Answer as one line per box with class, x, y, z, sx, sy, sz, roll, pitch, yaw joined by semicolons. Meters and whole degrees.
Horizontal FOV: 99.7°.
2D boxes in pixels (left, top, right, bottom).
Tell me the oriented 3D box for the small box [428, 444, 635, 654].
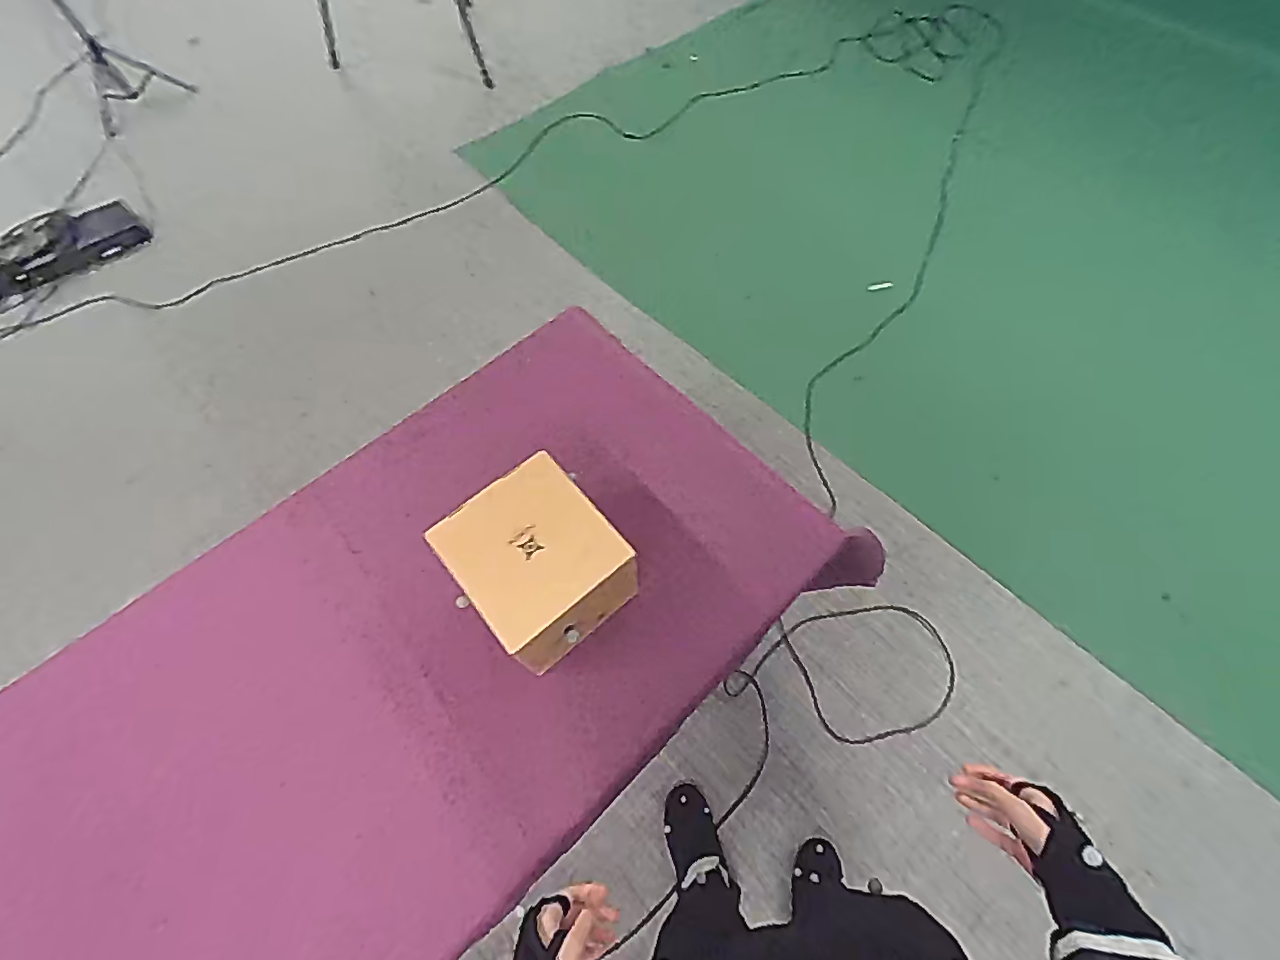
small box;-0.119;0.095;0.668;0.168;0.176;0.179;-39;68;-16
